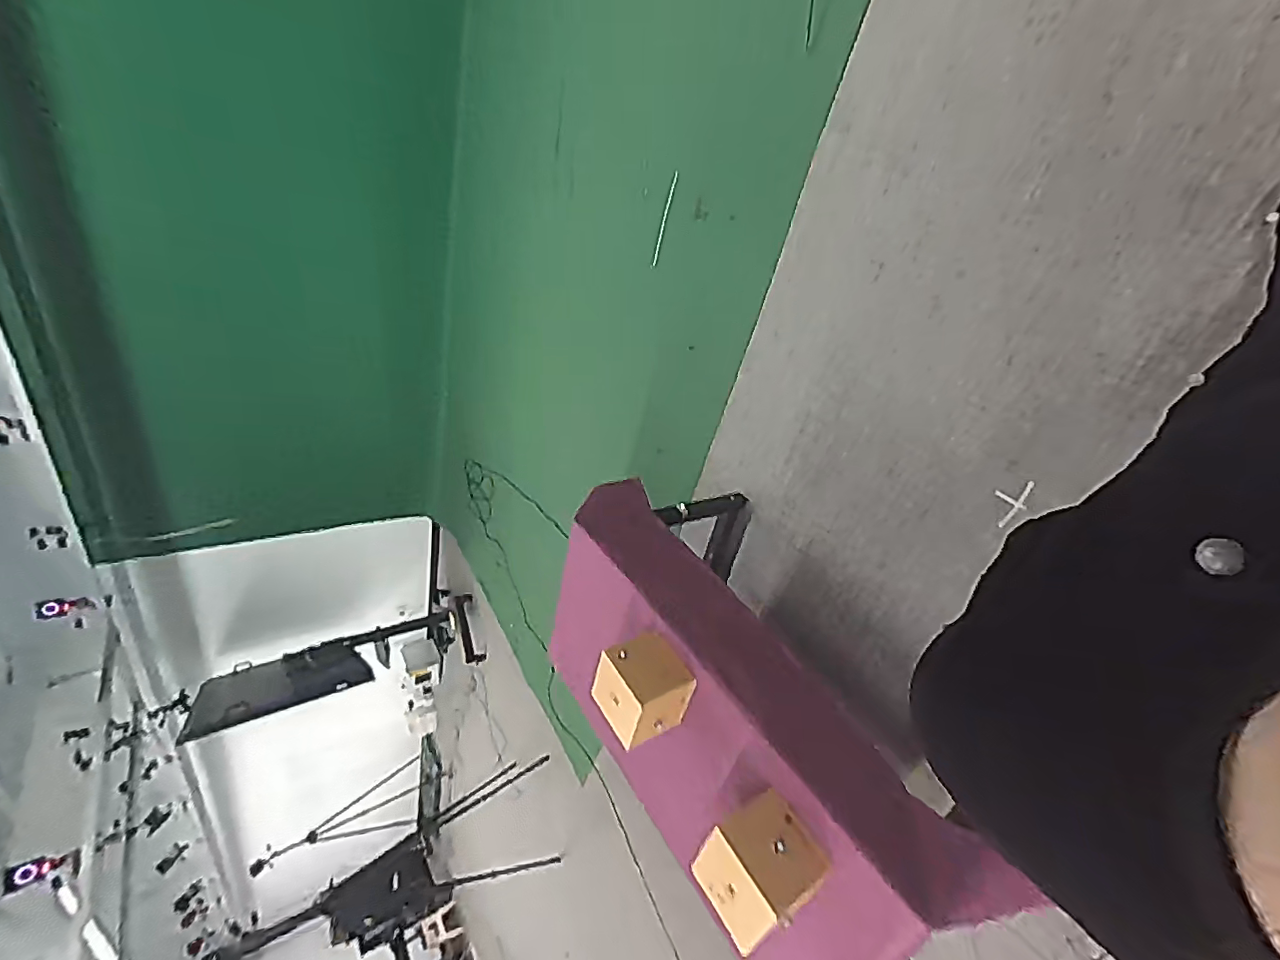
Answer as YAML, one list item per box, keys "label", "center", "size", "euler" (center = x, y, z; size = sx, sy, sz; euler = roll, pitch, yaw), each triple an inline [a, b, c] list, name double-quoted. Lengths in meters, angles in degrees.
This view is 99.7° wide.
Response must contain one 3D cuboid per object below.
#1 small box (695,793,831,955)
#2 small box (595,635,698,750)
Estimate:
- label: "small box"
  center: [0.242, 0.759, 1.058]
  size: [0.168, 0.176, 0.179]
  euler: [46, 132, 40]
- label: "small box"
  center: [0.015, 0.510, 1.322]
  size: [0.179, 0.176, 0.168]
  euler: [44, 131, 41]
